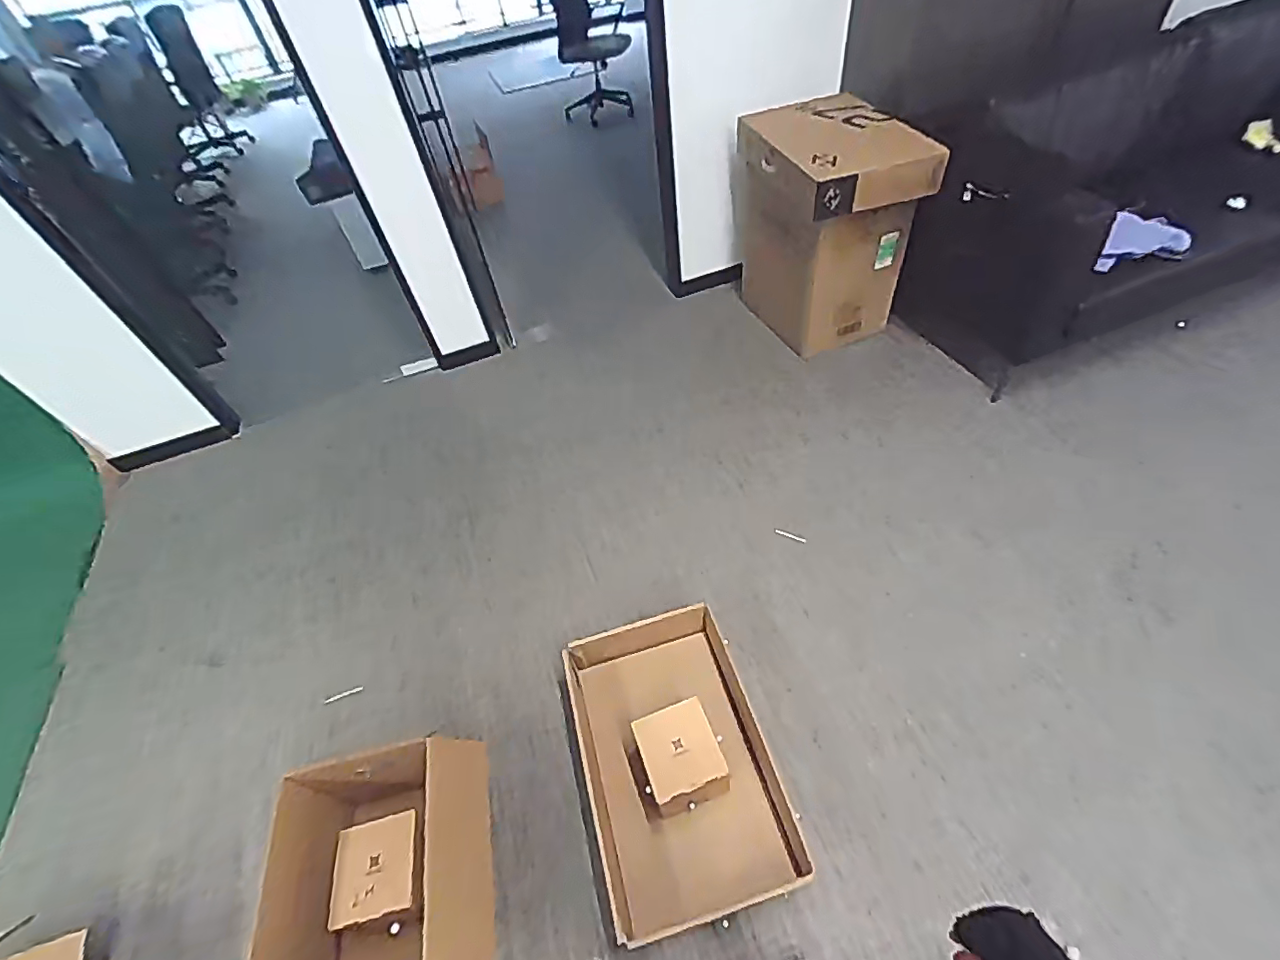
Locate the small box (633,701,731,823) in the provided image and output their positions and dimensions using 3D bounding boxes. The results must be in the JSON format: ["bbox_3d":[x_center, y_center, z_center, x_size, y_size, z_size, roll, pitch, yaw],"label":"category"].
[{"bbox_3d":[0.093,0.640,1.226,0.168,0.176,0.179,-19,49,-9],"label":"small box"}]
